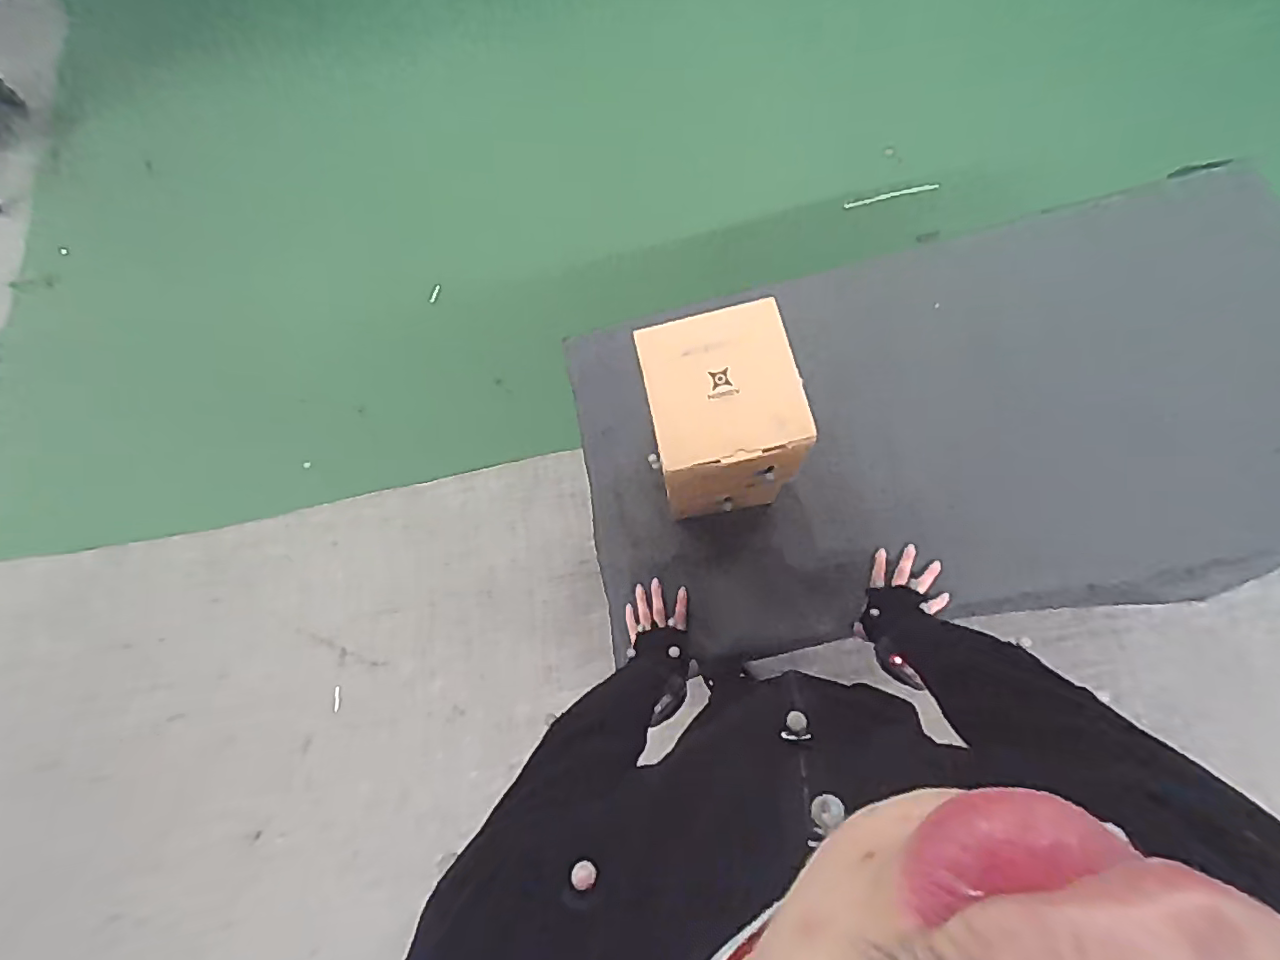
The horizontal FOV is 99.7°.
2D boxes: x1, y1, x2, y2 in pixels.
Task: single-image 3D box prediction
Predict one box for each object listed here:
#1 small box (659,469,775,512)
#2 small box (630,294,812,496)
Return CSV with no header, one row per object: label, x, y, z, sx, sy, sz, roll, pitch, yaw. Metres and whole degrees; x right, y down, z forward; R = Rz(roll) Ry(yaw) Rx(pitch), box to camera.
small box,0.108,-0.056,0.816,0.168,0.176,0.179,-11,73,3
small box,0.092,-0.088,0.657,0.168,0.176,0.179,-13,72,2
